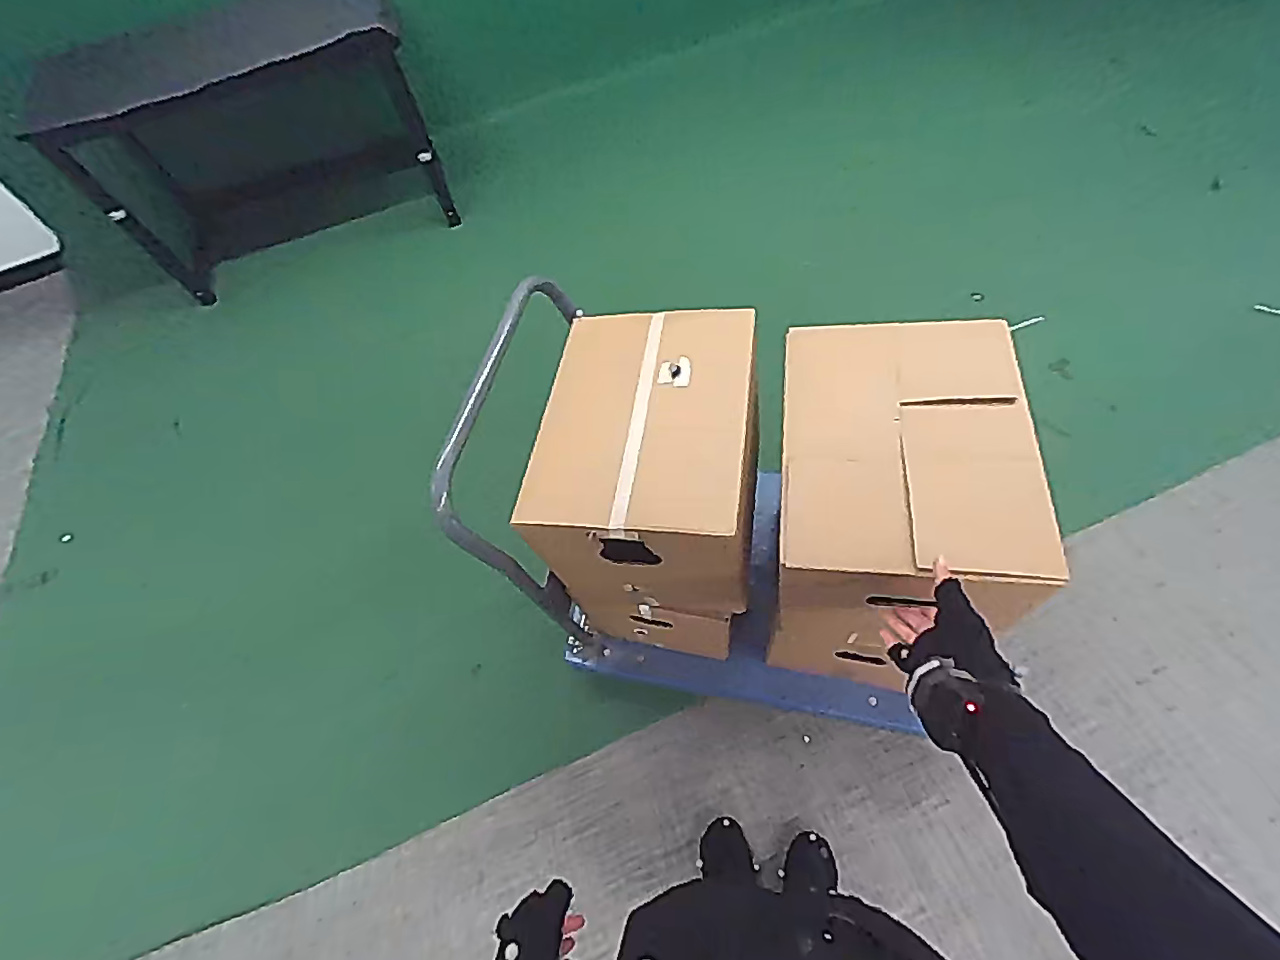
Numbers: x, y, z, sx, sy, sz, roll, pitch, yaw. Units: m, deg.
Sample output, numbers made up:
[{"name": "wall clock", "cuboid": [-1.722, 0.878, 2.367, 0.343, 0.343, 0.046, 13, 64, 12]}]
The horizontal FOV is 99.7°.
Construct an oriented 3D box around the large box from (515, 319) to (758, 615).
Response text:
[{"name": "large box", "cuboid": [0.033, -0.015, 0.933, 0.320, 0.320, 0.408, 2, 58, 15]}]
